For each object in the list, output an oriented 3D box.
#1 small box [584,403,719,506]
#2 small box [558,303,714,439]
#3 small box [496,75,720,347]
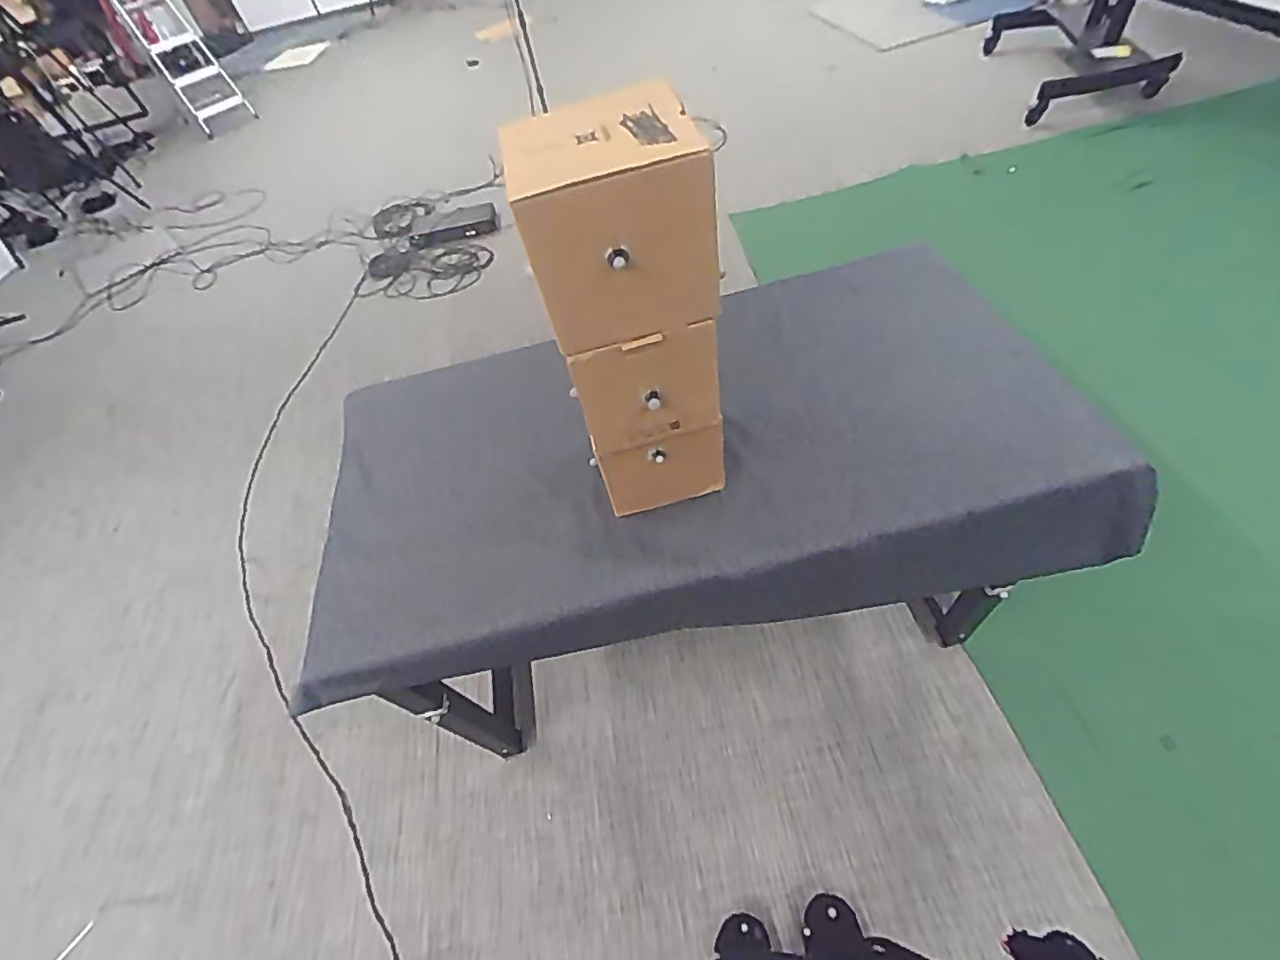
[{"bbox_3d":[0.014,-0.082,0.814,0.179,0.176,0.168,-14,54,-1],"label":"small box"},{"bbox_3d":[-0.009,-0.171,0.679,0.168,0.176,0.179,-15,55,0],"label":"small box"},{"bbox_3d":[-0.028,-0.263,0.543,0.179,0.176,0.168,-16,54,-2],"label":"small box"}]
